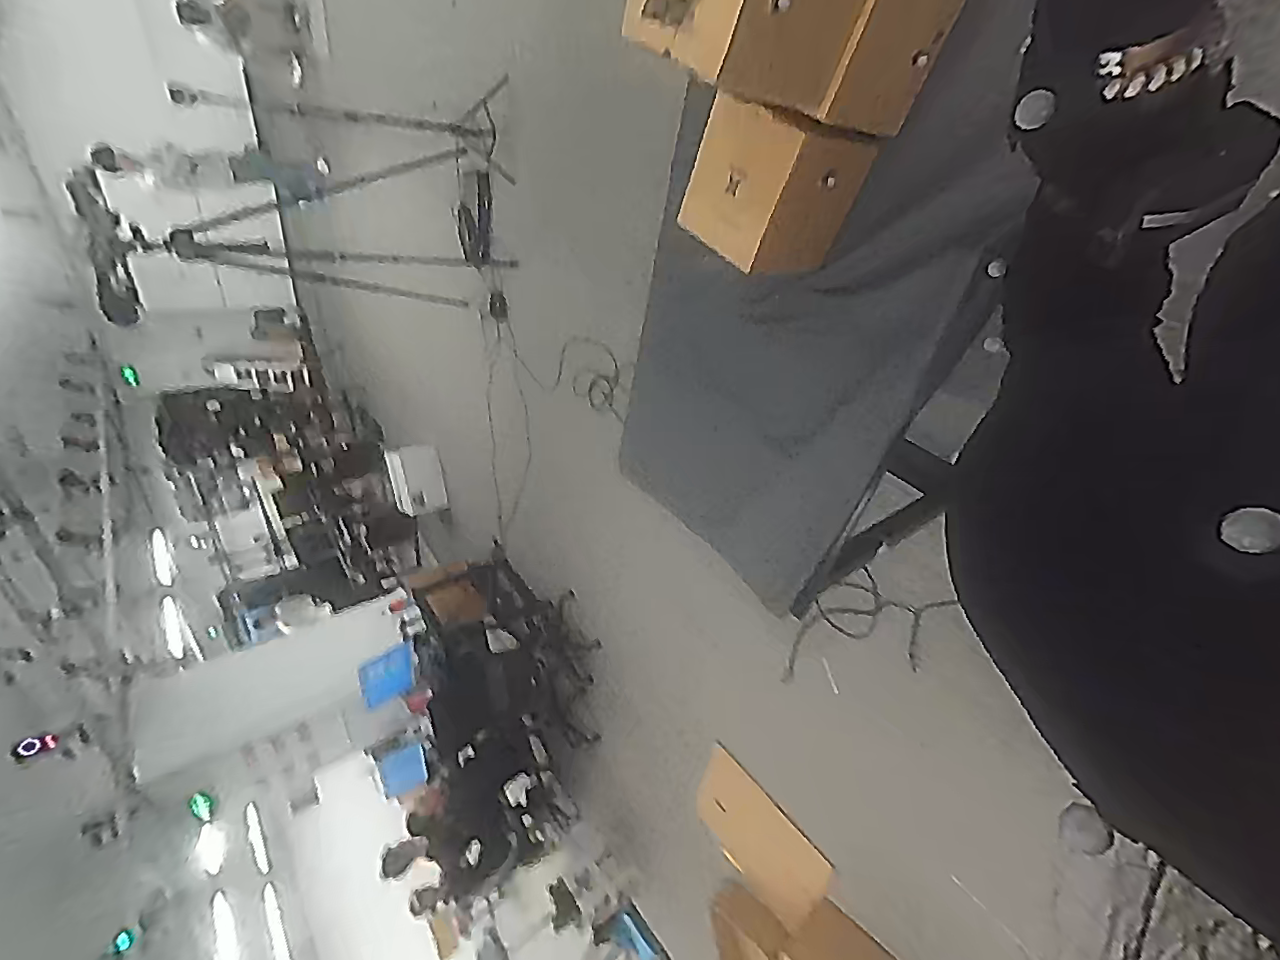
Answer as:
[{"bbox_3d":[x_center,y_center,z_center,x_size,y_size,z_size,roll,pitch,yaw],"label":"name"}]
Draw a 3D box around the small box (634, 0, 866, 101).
[{"bbox_3d":[0.123,-0.517,0.550,0.168,0.176,0.179,49,139,28],"label":"small box"}]
